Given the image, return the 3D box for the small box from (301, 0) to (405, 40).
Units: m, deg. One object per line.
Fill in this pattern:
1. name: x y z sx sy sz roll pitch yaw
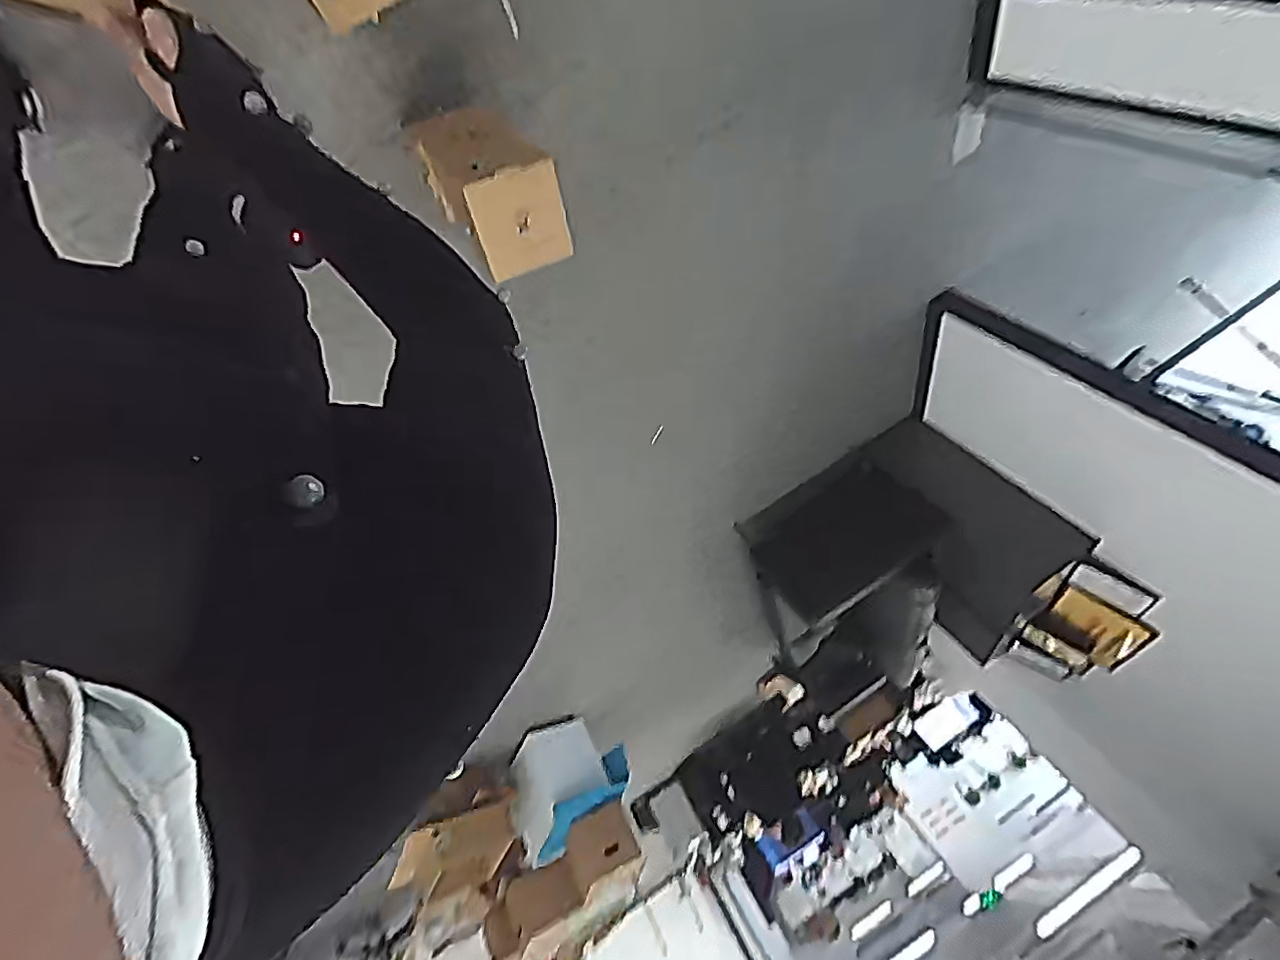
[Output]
1. small box: -0.463 -0.811 0.820 0.179 0.176 0.168 -35 142 -4

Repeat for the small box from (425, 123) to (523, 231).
1. small box: -0.321 -0.610 1.131 0.168 0.176 0.179 -29 140 -10

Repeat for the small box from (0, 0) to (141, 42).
1. small box: -0.514 -0.456 0.406 0.179 0.176 0.168 -10 125 -34

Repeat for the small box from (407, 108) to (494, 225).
1. small box: -0.407 -0.712 1.224 0.179 0.176 0.168 -27 141 -11

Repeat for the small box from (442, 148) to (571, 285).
1. small box: -0.254 -0.506 1.024 0.168 0.176 0.179 -26 140 -13
